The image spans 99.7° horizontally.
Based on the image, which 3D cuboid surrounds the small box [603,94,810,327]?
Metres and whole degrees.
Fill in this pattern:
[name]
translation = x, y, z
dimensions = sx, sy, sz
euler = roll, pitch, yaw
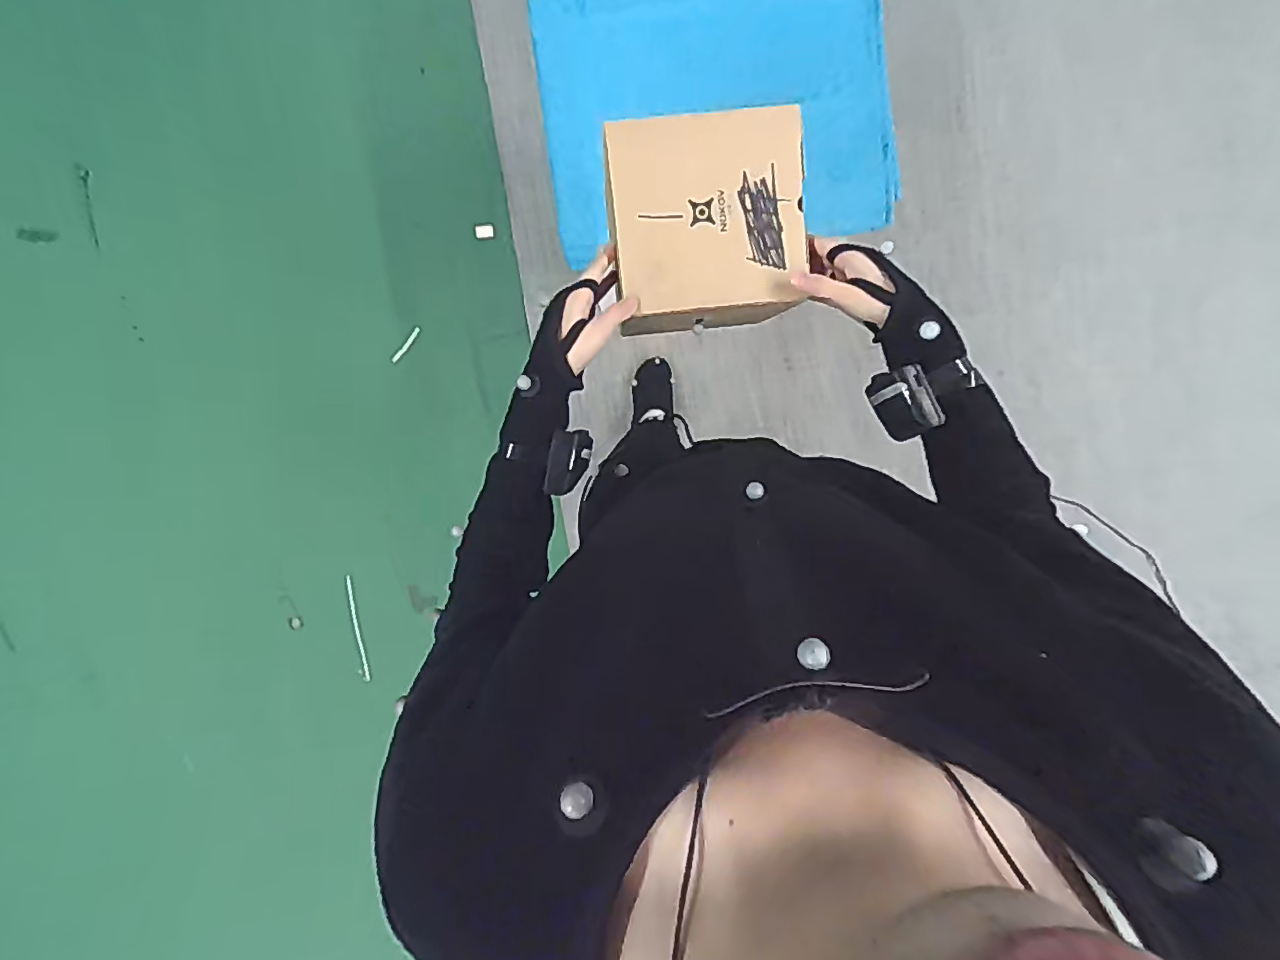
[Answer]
[small box]
translation = 0.056, -0.256, 0.550
dimensions = 0.179, 0.176, 0.168
euler = -6, 99, -2
